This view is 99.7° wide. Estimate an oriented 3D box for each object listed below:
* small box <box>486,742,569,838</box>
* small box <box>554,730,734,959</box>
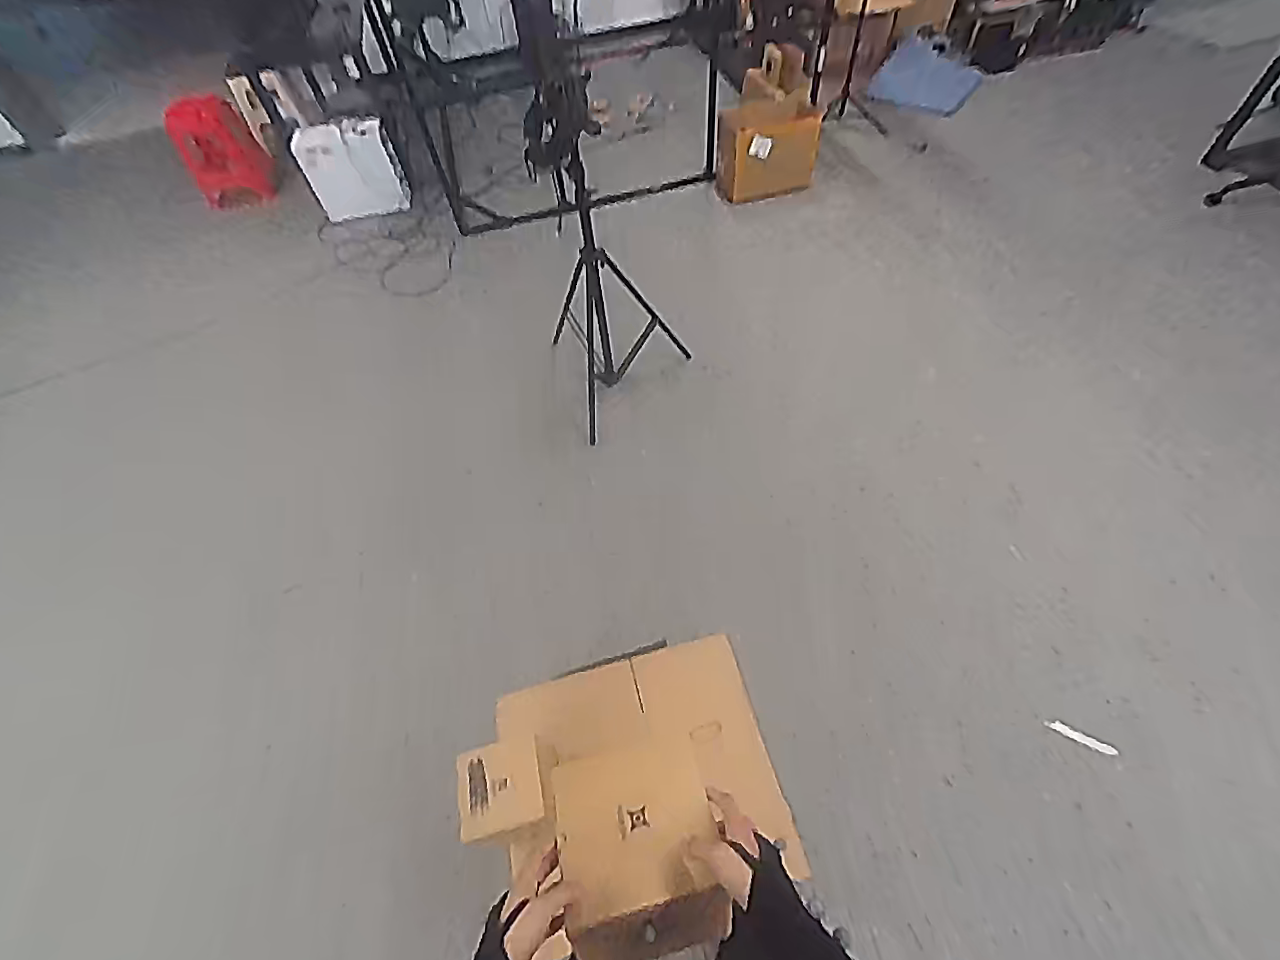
[{"bbox_3d":[-0.263,0.765,1.334,0.179,0.176,0.168,-15,56,-4],"label":"small box"},{"bbox_3d":[0.002,0.440,0.653,0.179,0.176,0.168,-12,36,-8],"label":"small box"}]
